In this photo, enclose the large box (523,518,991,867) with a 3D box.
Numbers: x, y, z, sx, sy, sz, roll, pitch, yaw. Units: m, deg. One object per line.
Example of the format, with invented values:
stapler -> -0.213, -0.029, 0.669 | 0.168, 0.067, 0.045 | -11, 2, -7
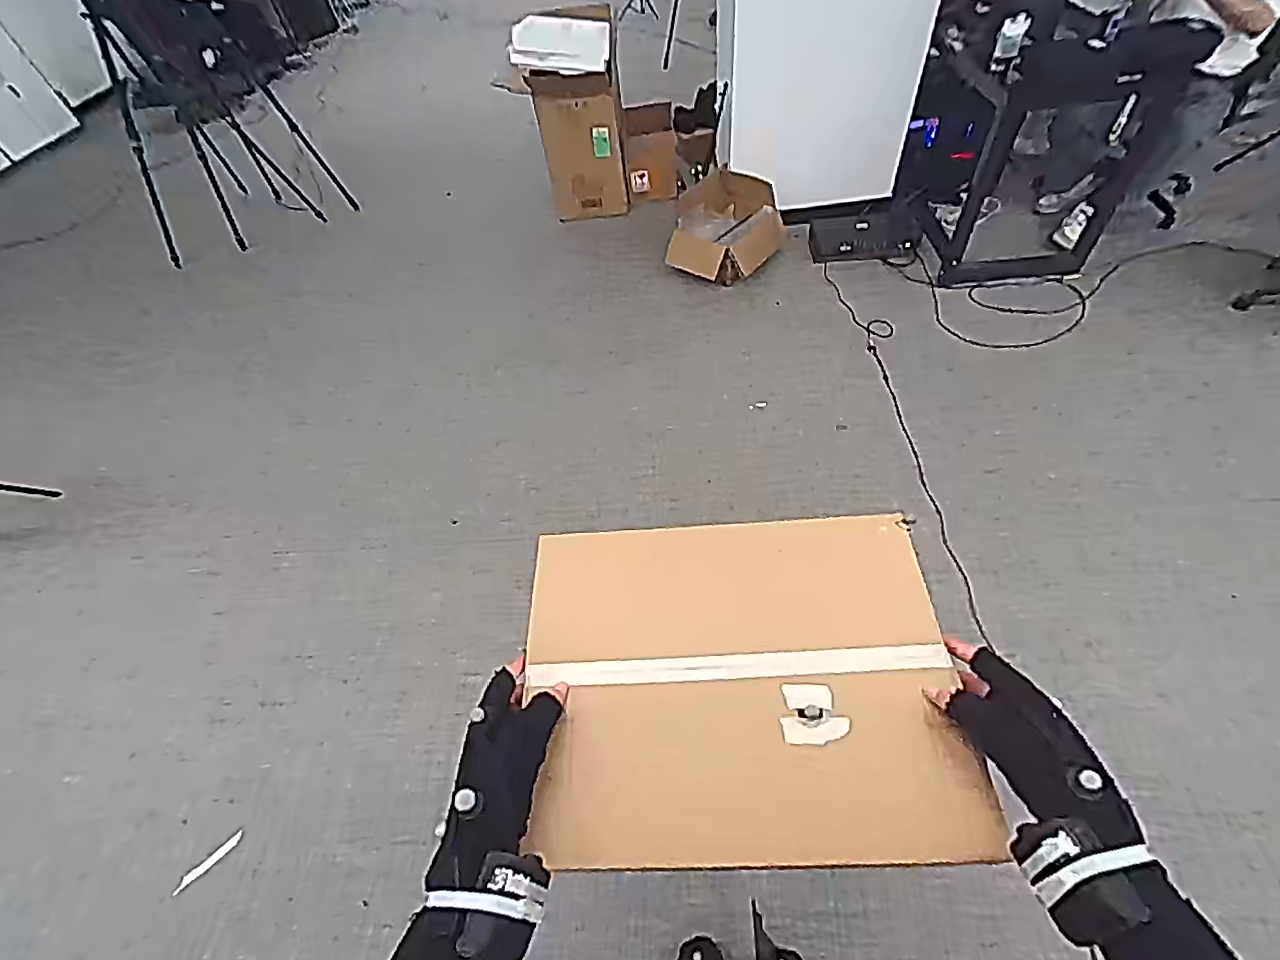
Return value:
large box -> 0.101, 0.269, 0.659 | 0.408, 0.320, 0.320 | -4, 56, 3
